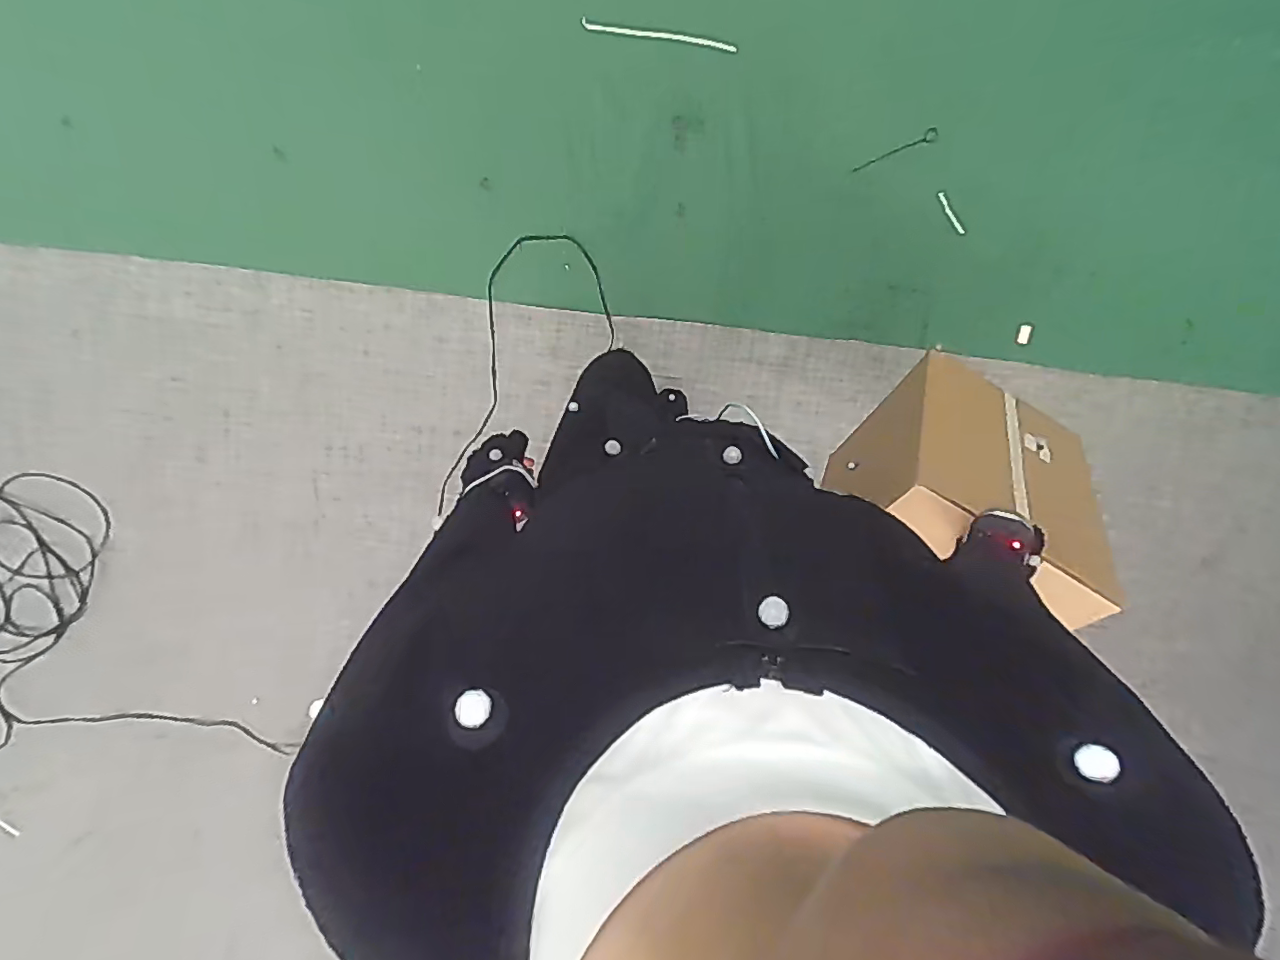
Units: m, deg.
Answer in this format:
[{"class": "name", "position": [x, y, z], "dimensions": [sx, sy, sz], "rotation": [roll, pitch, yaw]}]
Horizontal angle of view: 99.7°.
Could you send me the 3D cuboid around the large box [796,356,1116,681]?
[{"class": "large box", "position": [0.517, 0.062, 0.949], "dimensions": [0.320, 0.408, 0.320], "rotation": [33, 136, 2]}]
